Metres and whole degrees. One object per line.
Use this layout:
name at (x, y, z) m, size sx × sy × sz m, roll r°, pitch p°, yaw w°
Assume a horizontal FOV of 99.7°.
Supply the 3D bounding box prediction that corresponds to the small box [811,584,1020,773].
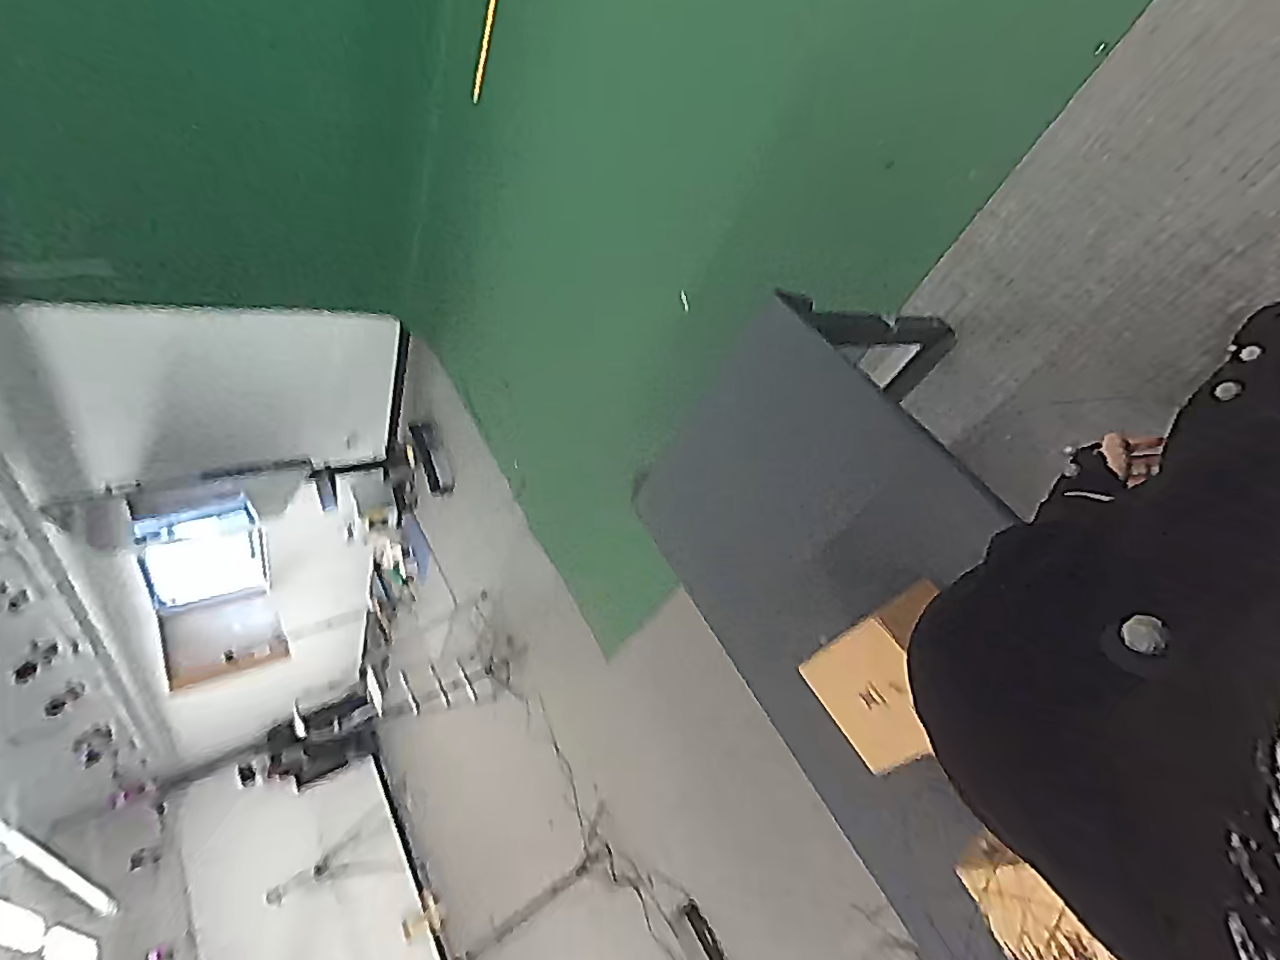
small box at (0.392, 0.277, 0.775) m, size 0.168 × 0.176 × 0.179 m, roll 54°, pitch 137°, yaw 25°

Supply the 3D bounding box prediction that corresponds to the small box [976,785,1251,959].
small box at (0.554, 0.493, 0.638) m, size 0.168 × 0.176 × 0.179 m, roll 59°, pitch 139°, yaw 22°
